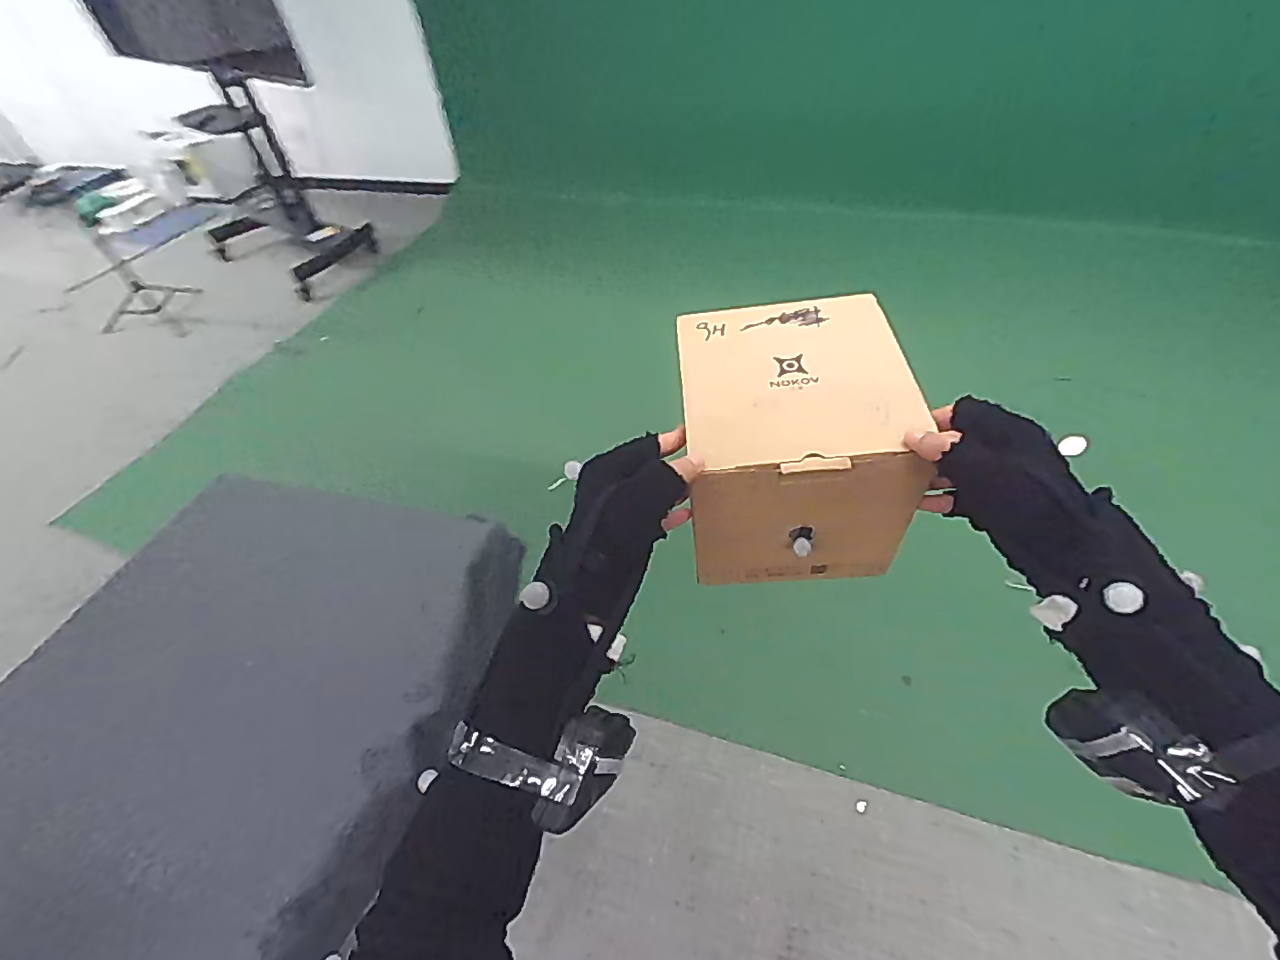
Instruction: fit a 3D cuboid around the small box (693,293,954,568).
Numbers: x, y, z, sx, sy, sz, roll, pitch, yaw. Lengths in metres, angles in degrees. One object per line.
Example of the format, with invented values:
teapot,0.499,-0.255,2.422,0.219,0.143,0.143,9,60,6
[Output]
small box,0.136,-0.032,0.471,0.168,0.176,0.179,-4,53,6
